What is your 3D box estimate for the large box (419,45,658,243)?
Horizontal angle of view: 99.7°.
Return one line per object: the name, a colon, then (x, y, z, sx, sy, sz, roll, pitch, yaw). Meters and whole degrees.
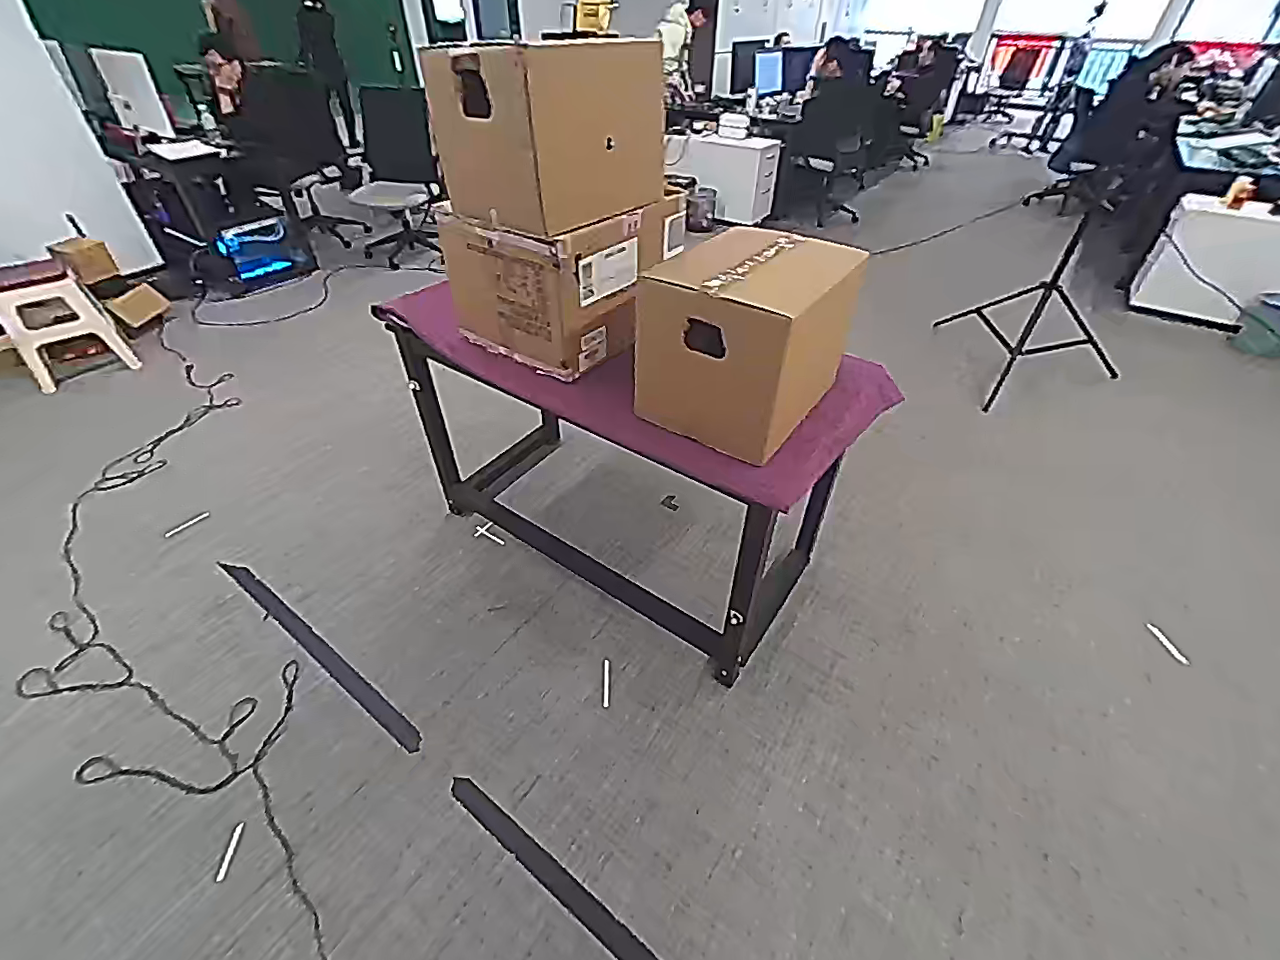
large box: (-0.193, -0.755, 1.198, 0.320, 0.320, 0.408, 23, 46, 30)
